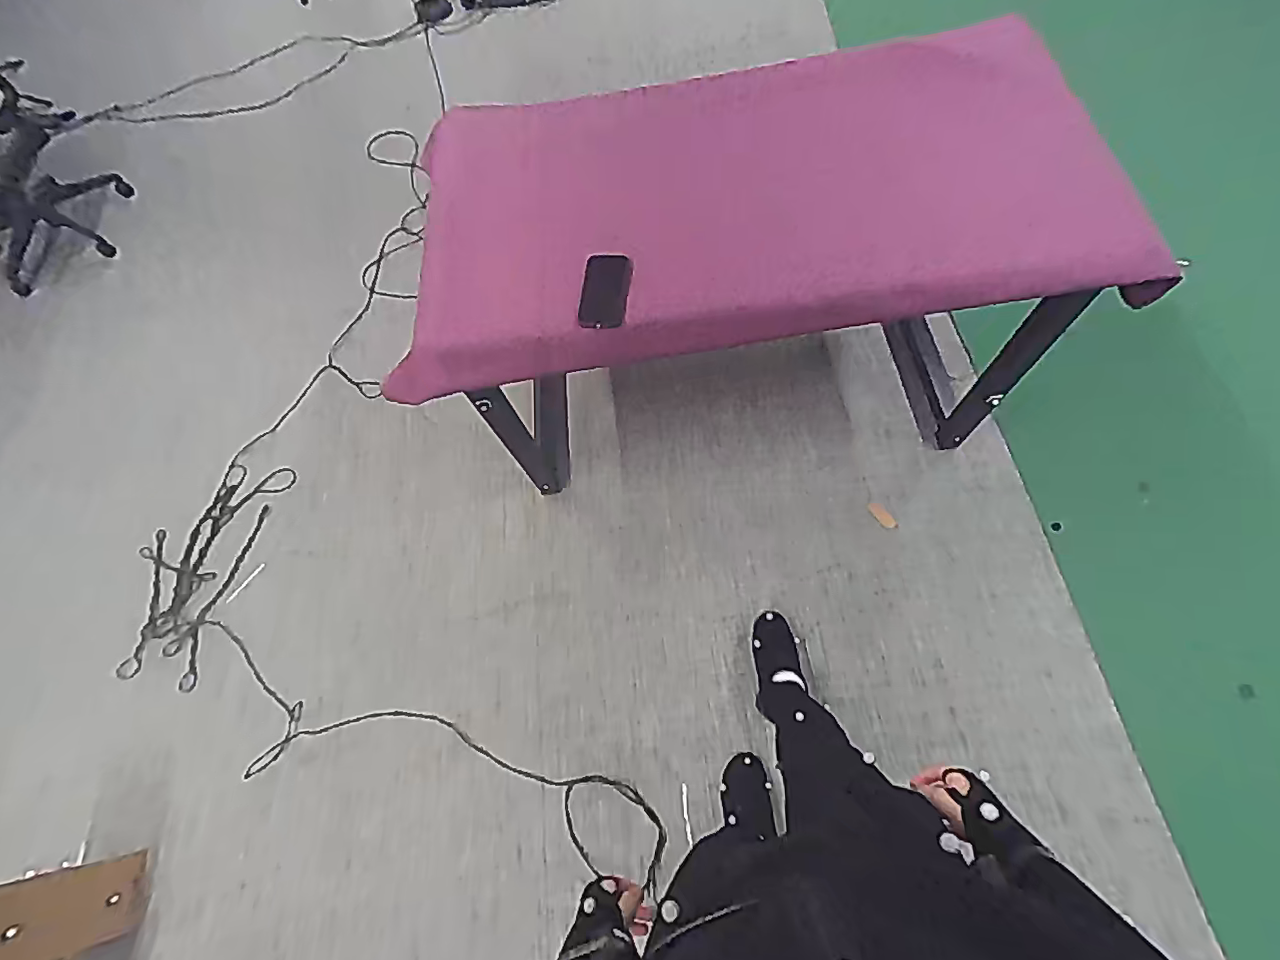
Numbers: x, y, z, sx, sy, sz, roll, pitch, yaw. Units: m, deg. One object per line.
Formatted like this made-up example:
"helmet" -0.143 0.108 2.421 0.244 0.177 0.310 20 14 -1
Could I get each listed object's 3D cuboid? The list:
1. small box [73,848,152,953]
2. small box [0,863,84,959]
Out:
"small box" -1.285 0.976 1.245 0.179 0.176 0.168 -15 66 1
"small box" -1.291 0.917 1.093 0.168 0.176 0.179 -18 66 -2
